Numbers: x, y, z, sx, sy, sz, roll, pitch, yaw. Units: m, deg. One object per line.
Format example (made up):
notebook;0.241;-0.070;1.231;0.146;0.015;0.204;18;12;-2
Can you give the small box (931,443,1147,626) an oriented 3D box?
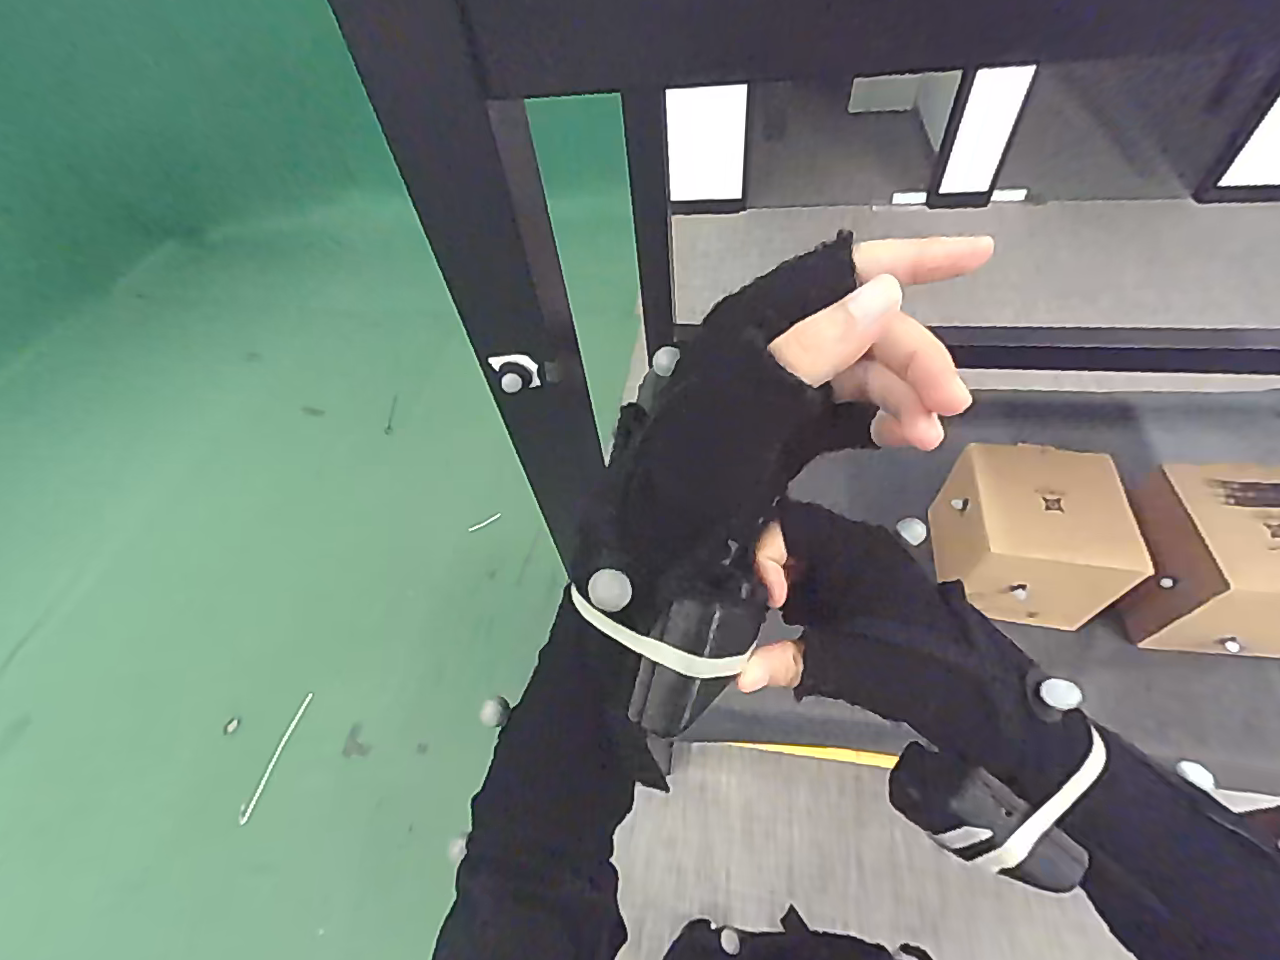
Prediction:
small box;0.509;0.076;0.724;0.168;0.176;0.179;6;53;12
